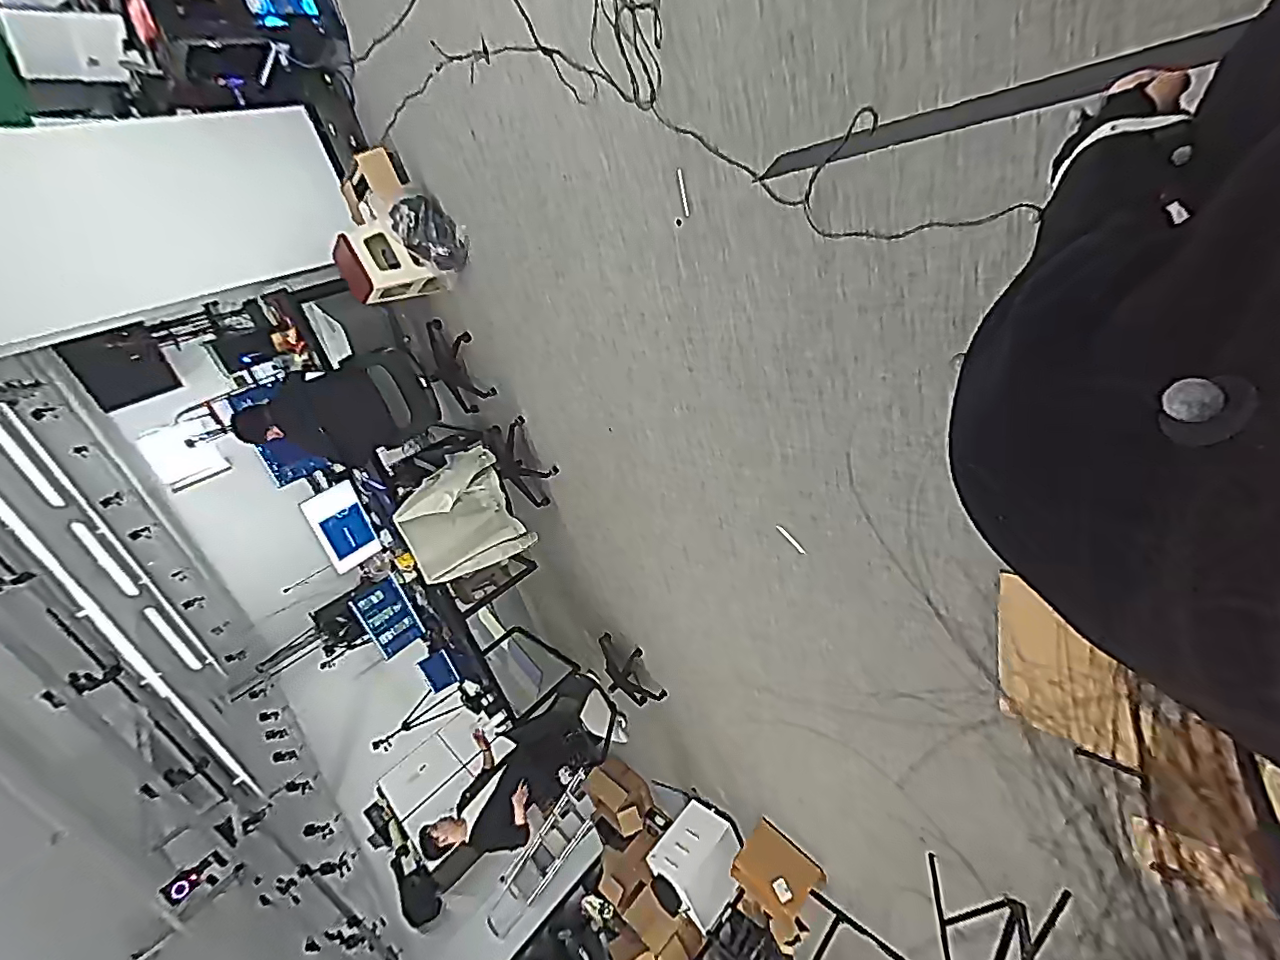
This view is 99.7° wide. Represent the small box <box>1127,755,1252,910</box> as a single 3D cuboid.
[{"bbox_3d":[1.161,0.733,1.143,0.168,0.176,0.179,8,124,49],"label":"small box"}]

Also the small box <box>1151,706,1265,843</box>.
[{"bbox_3d":[1.282,0.657,1.226,0.168,0.176,0.179,7,125,49],"label":"small box"}]

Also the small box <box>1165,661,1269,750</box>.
[{"bbox_3d":[1.393,0.576,1.314,0.168,0.176,0.179,9,126,48],"label":"small box"}]
